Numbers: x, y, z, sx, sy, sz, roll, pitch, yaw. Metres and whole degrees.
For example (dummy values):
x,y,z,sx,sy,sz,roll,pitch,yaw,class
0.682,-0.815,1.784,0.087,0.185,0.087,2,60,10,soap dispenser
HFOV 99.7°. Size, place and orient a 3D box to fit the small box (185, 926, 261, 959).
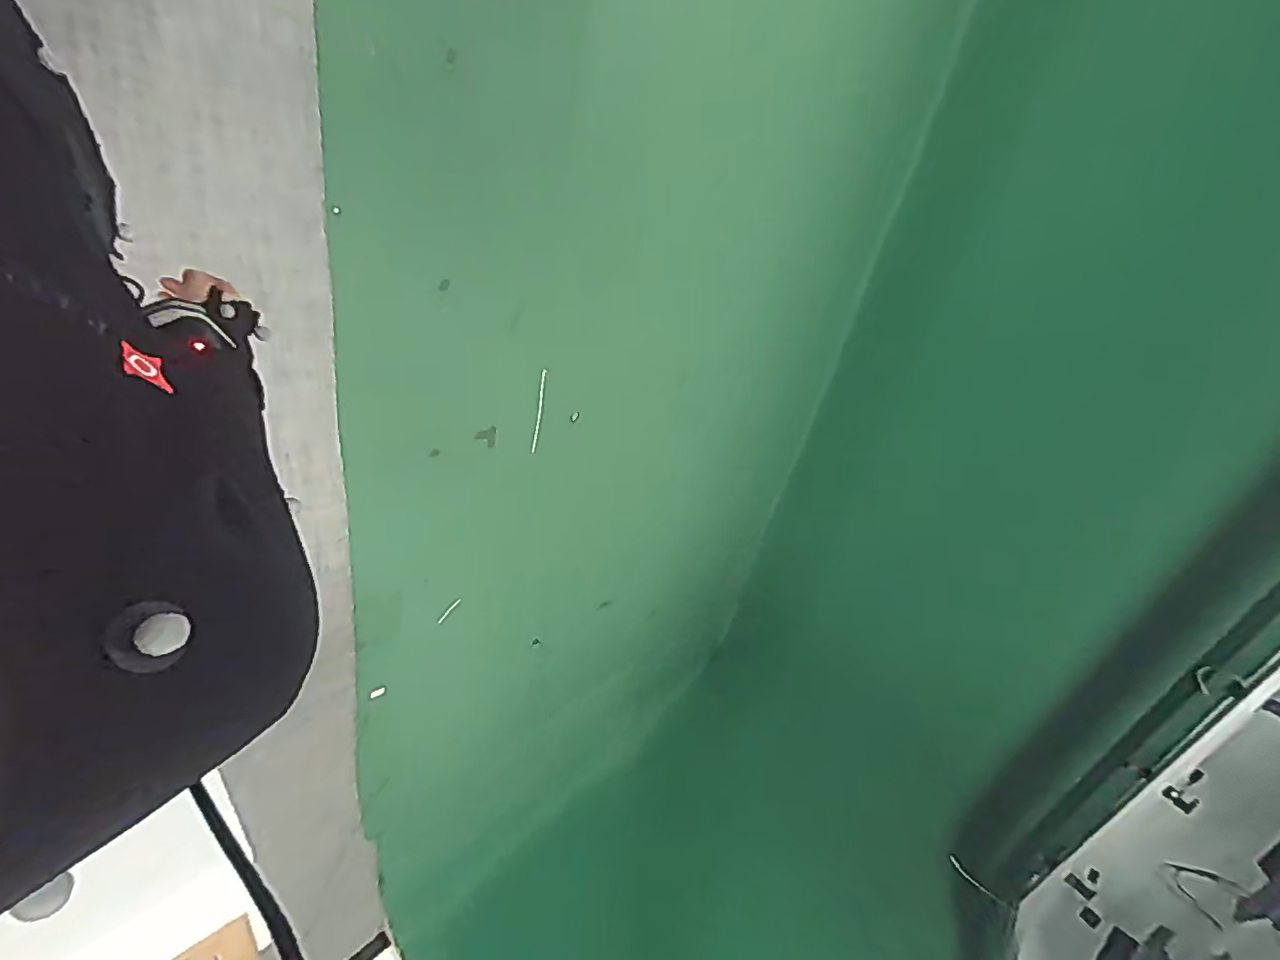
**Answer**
x,y,z,sx,sy,sz,roll,pitch,yaw,class
-0.820,1.025,1.041,0.168,0.176,0.179,-17,129,-46,small box
